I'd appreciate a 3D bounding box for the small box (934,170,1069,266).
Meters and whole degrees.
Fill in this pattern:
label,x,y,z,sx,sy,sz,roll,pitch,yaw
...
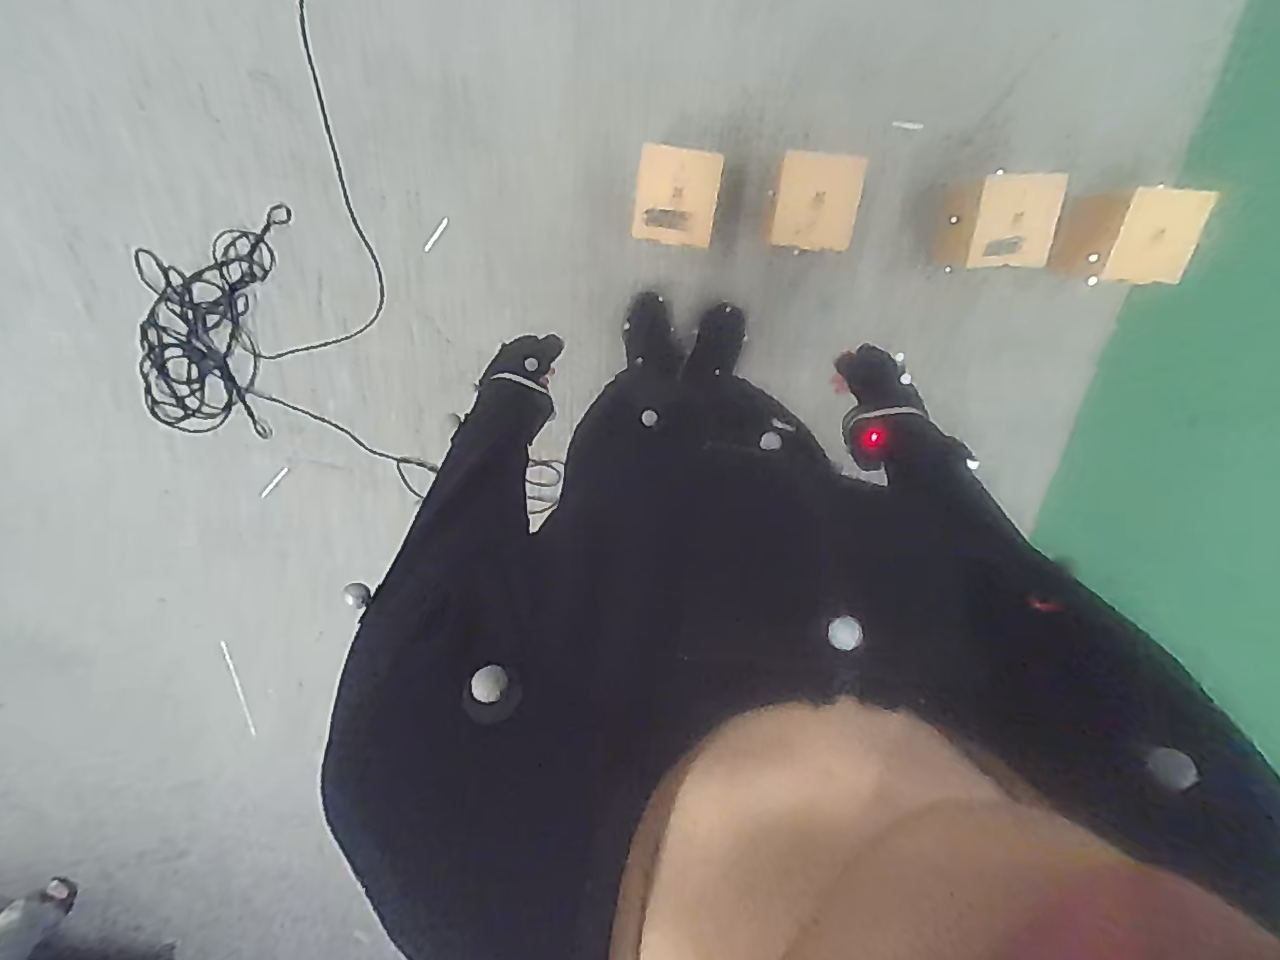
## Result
label,x,y,z,sx,sy,sz,roll,pitch,yaw
small box,0.764,-0.560,1.167,0.168,0.176,0.179,0,113,1

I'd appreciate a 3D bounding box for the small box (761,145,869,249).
label,x,y,z,sx,sy,sz,roll,pitch,yaw
small box,0.364,-0.599,1.162,0.168,0.176,0.179,6,114,1

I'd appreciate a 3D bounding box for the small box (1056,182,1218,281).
label,x,y,z,sx,sy,sz,roll,pitch,yaw
small box,1.055,-0.533,1.170,0.168,0.176,0.179,4,114,1
